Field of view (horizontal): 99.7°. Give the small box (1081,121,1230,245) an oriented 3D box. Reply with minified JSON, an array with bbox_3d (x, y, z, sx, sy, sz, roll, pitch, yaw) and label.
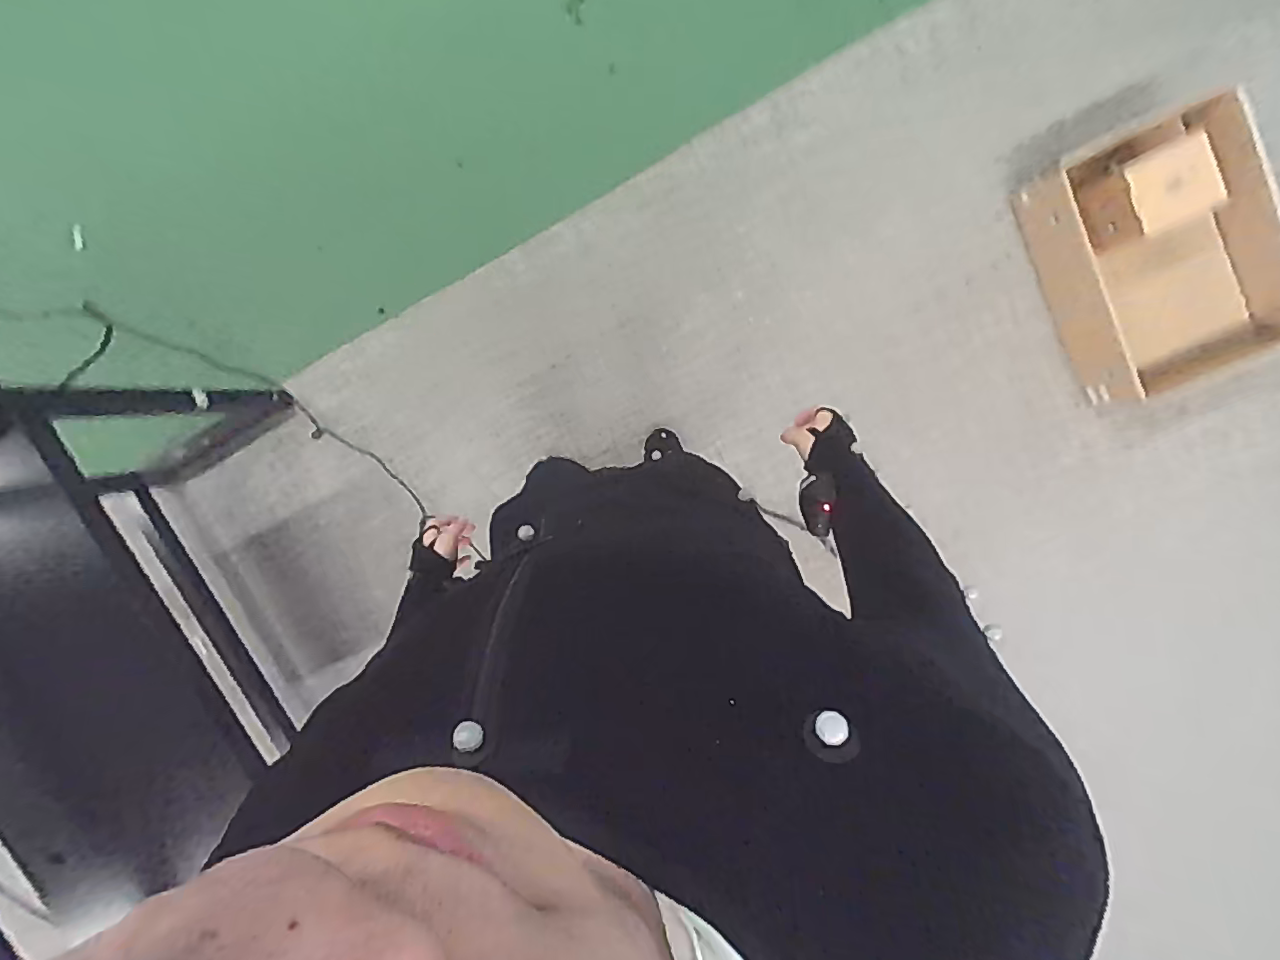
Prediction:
[{"bbox_3d":[1.188,-0.682,1.267,0.179,0.176,0.168,-26,97,9],"label":"small box"}]
